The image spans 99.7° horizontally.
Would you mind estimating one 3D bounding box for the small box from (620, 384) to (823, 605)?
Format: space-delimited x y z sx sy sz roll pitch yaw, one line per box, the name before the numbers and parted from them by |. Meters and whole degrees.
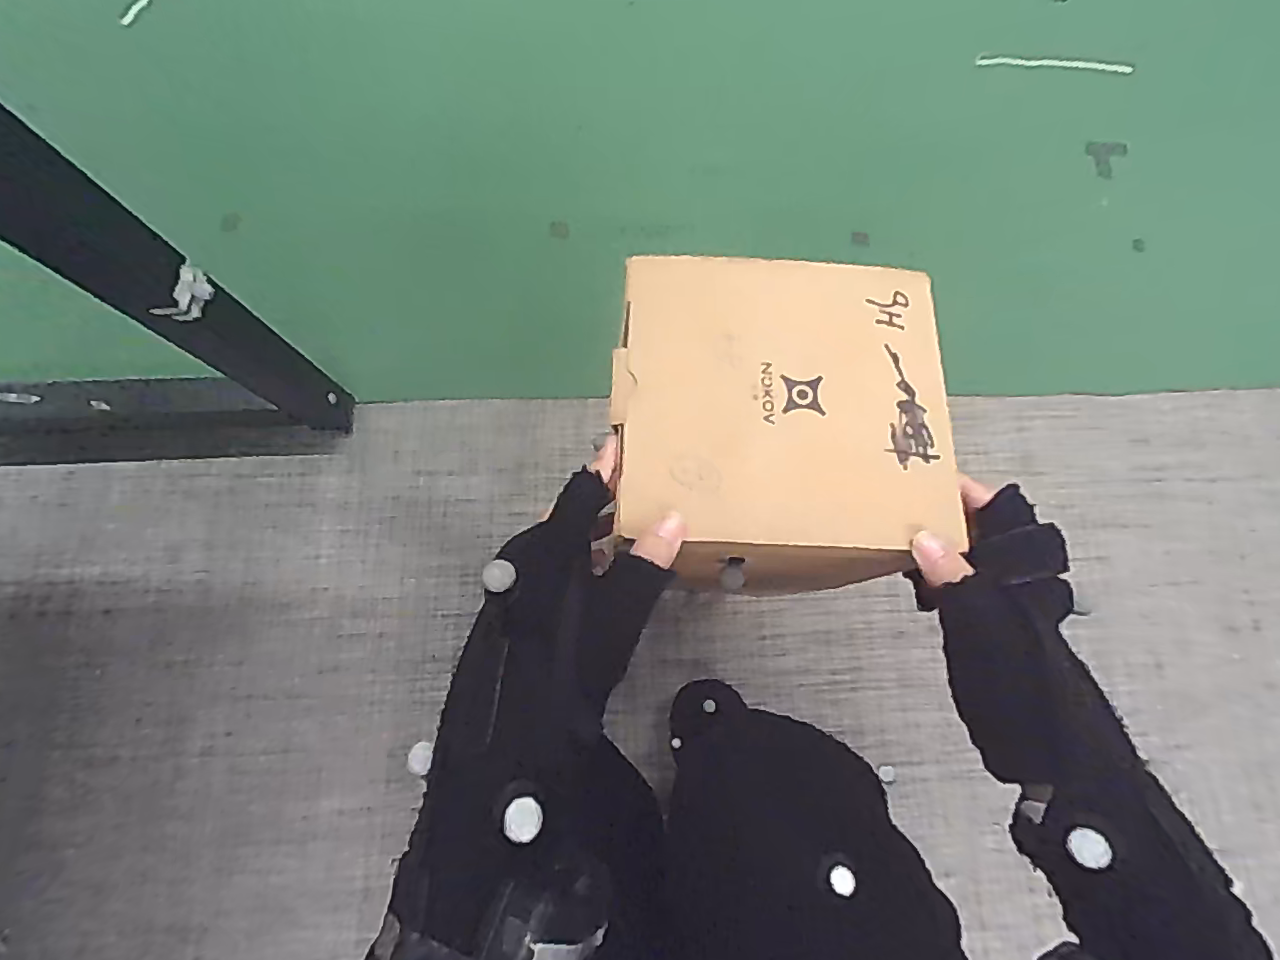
small box | 0.070 0.026 0.534 0.168 0.176 0.179 5 76 -1
